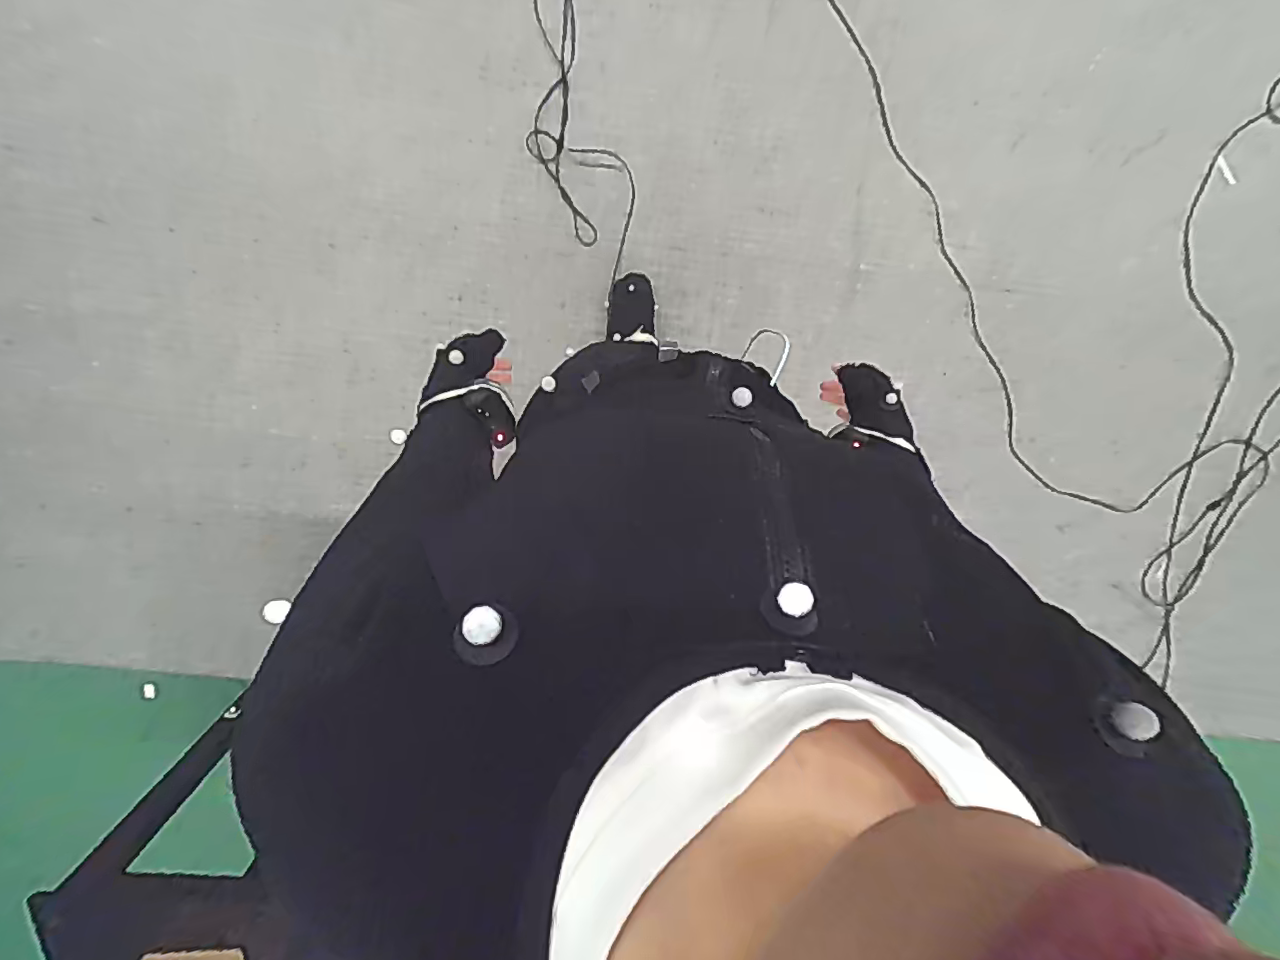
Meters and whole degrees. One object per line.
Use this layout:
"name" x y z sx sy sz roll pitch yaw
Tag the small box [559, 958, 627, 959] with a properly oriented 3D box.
"small box" -0.086 1.001 0.959 0.168 0.176 0.179 -2 107 -1
